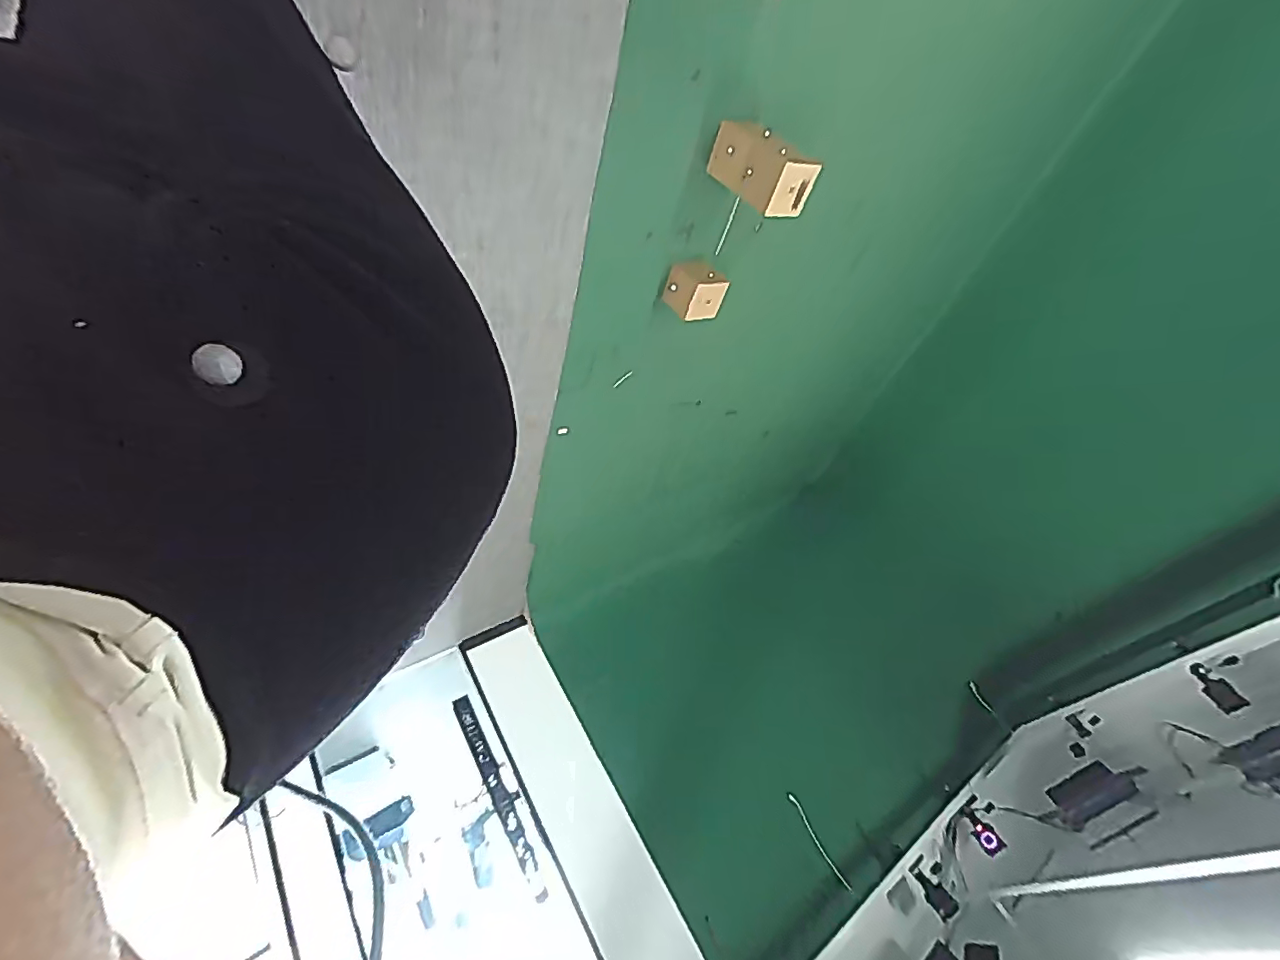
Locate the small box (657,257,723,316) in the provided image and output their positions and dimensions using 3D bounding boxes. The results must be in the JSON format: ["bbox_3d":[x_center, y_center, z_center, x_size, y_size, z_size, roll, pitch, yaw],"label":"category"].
[{"bbox_3d":[0.202,-0.796,2.217,0.179,0.176,0.168,-18,147,-33],"label":"small box"}]

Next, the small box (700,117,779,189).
[{"bbox_3d":[0.338,-1.128,1.864,0.179,0.176,0.168,-19,148,-33],"label":"small box"}]
